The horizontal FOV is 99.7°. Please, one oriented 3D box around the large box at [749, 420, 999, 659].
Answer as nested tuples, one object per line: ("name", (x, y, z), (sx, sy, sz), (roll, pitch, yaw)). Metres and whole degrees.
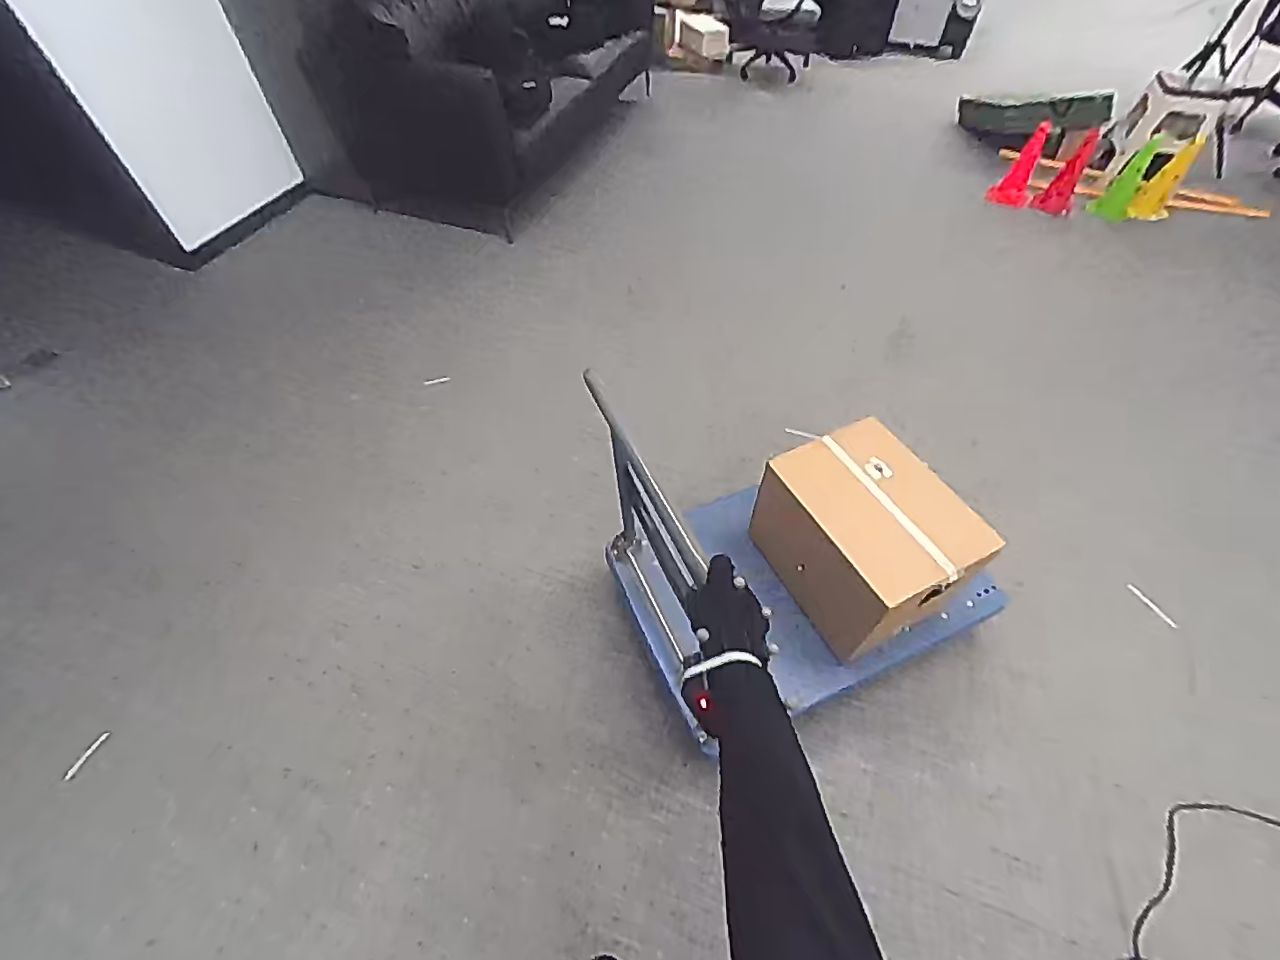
("large box", (0.512, 0.137, 1.283), (0.320, 0.320, 0.408), (-21, 55, -16))
